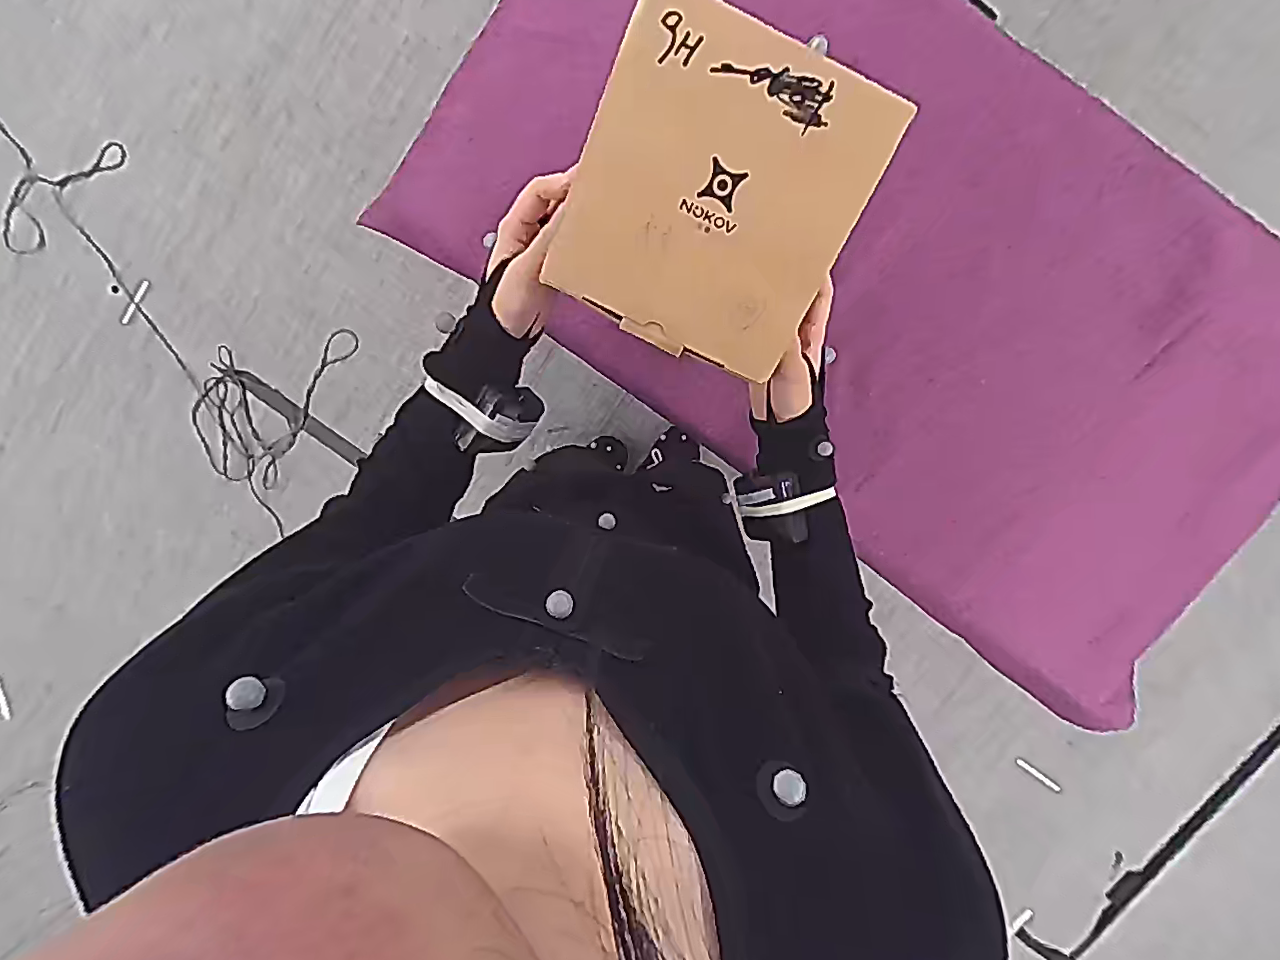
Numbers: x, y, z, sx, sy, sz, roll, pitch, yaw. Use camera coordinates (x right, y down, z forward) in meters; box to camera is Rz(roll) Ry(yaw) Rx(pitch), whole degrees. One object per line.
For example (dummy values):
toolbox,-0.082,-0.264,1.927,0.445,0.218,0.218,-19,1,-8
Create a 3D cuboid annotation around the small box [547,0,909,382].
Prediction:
small box,0.053,-0.199,0.404,0.168,0.176,0.179,25,111,-5
